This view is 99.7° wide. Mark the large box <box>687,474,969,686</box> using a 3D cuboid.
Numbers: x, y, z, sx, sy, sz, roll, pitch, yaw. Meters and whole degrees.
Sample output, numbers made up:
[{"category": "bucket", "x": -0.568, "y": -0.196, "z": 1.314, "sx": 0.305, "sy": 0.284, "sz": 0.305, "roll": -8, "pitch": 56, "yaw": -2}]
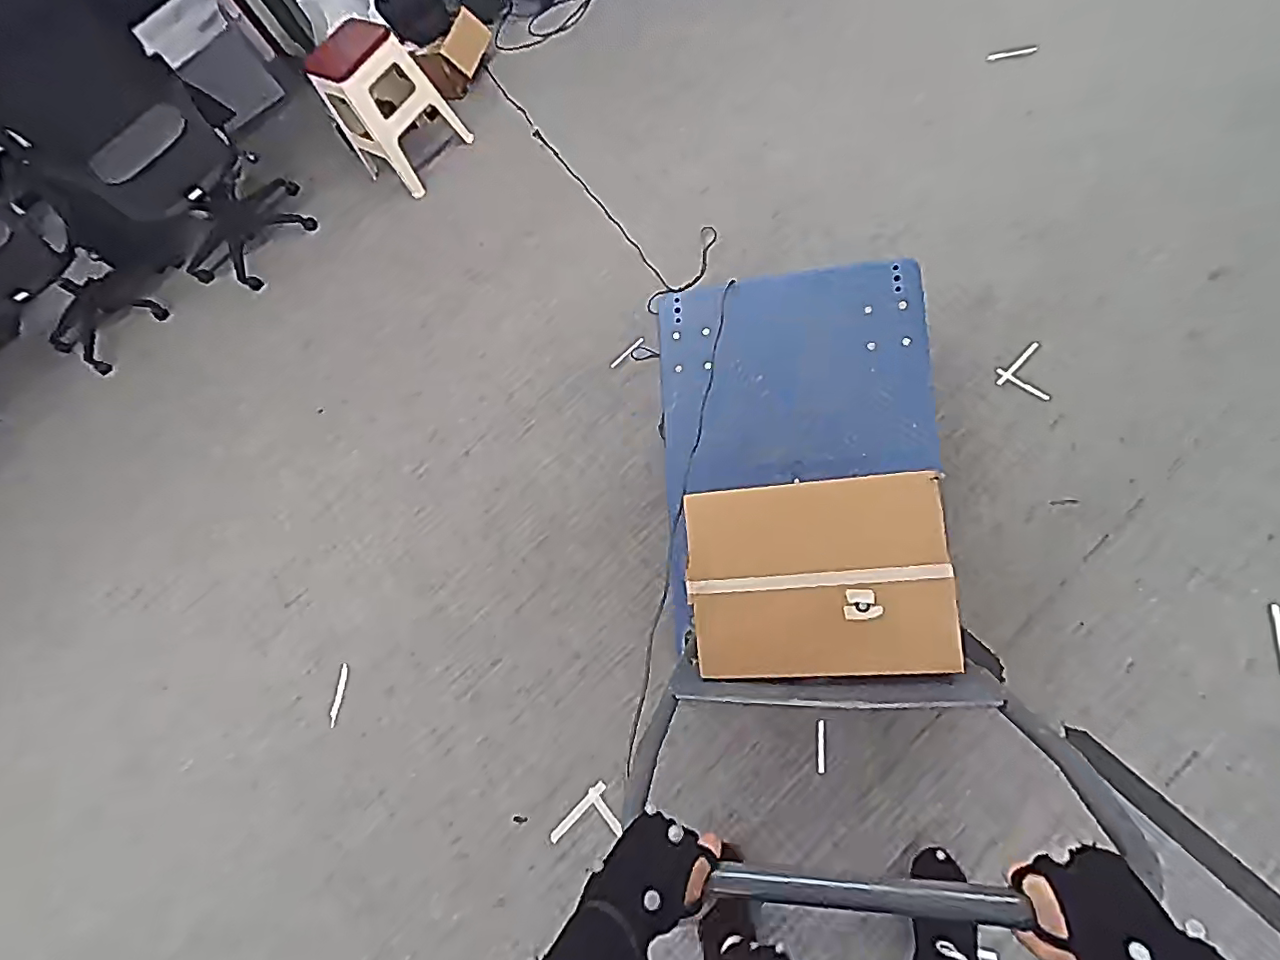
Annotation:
[{"category": "large box", "x": 0.316, "y": 0.176, "z": 1.002, "sx": 0.408, "sy": 0.320, "sz": 0.320, "roll": -6, "pitch": 85, "yaw": 12}]
